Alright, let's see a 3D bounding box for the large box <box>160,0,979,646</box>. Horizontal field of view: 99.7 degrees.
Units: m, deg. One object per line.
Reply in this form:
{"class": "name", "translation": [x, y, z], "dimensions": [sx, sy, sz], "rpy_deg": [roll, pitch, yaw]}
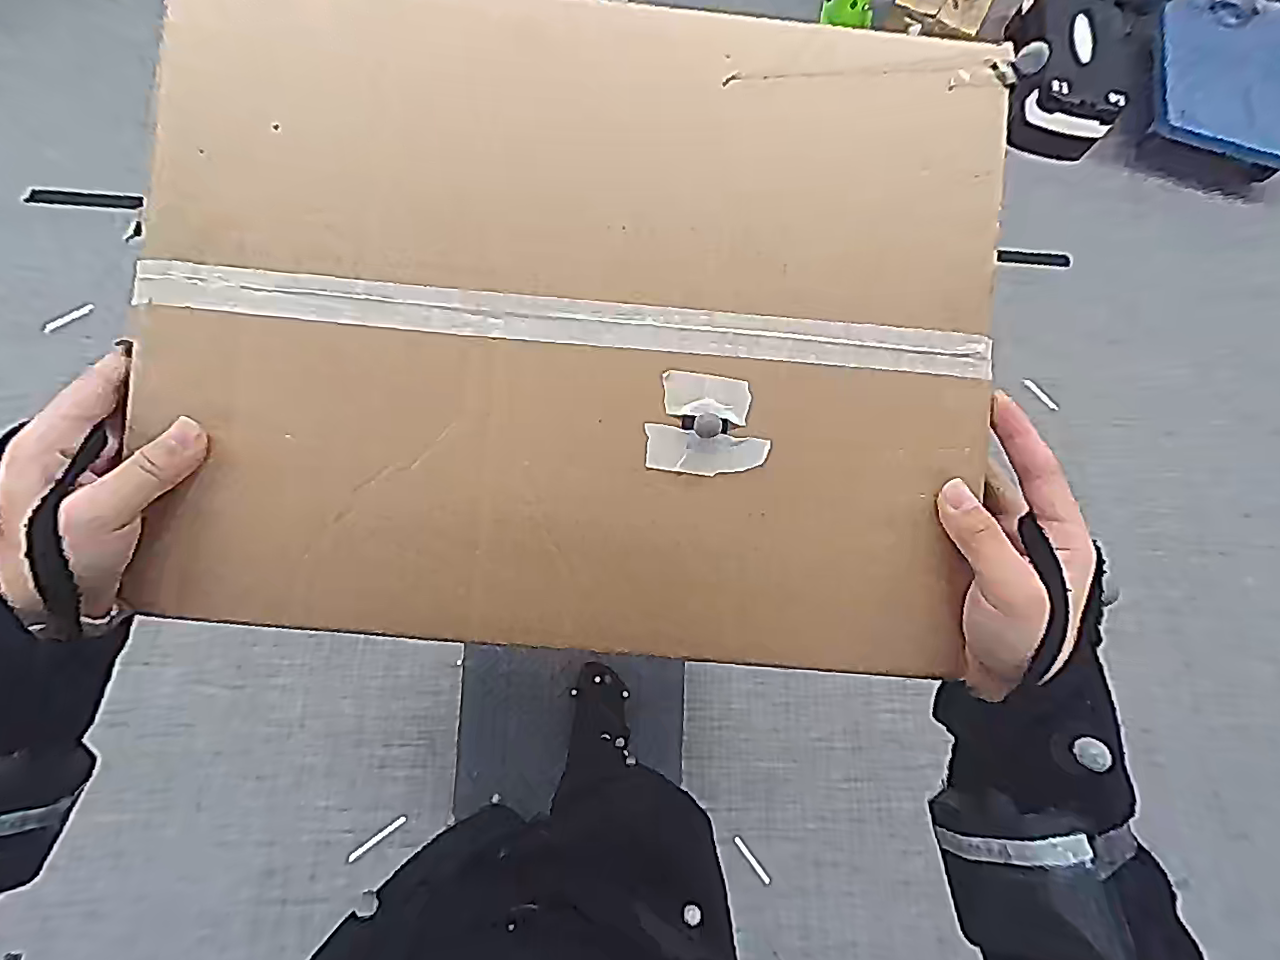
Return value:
{"class": "large box", "translation": [-0.035, -0.076, 0.424], "dimensions": [0.408, 0.320, 0.320], "rpy_deg": [5, 90, -2]}
